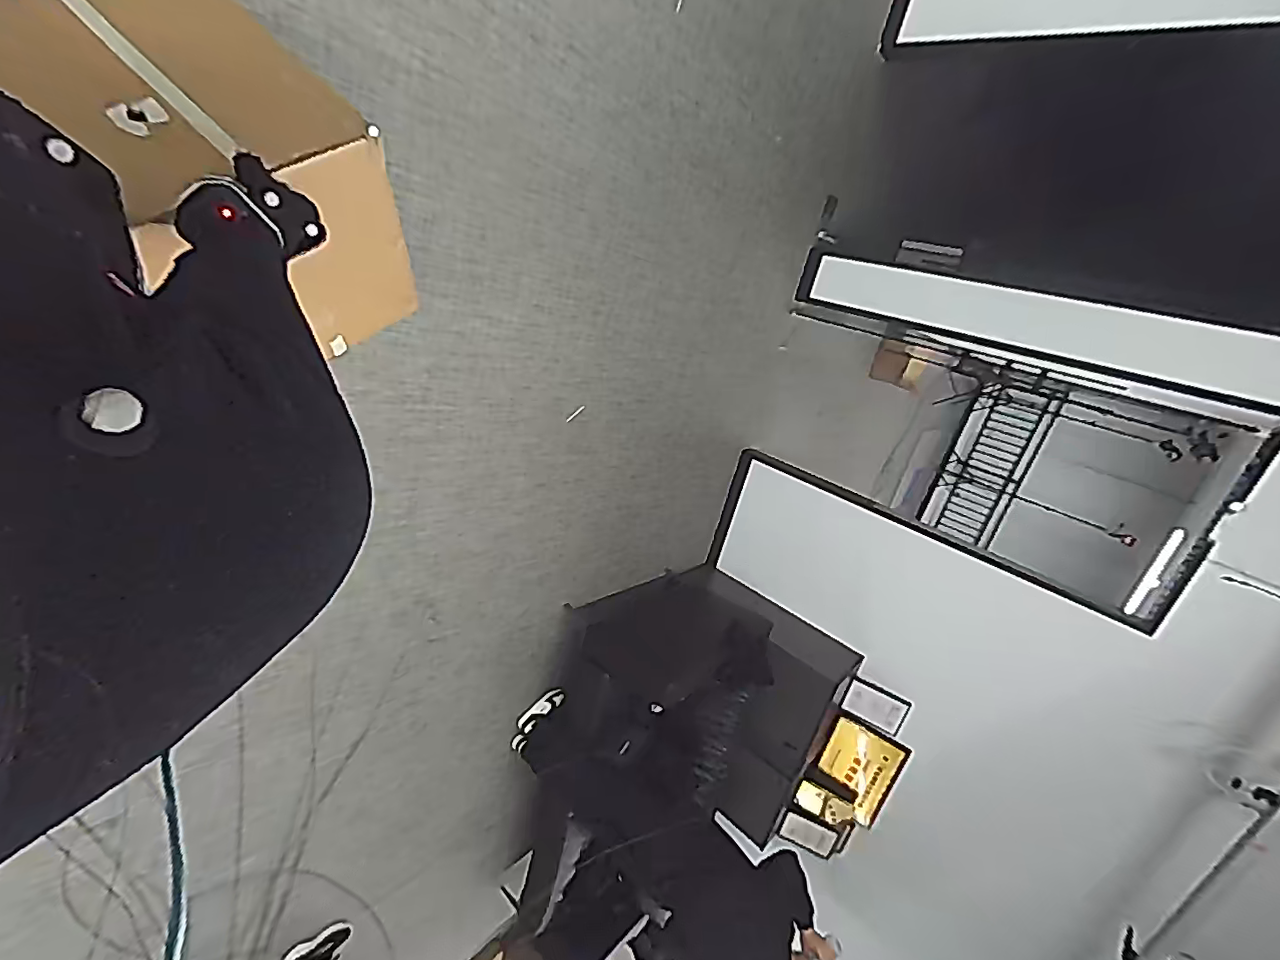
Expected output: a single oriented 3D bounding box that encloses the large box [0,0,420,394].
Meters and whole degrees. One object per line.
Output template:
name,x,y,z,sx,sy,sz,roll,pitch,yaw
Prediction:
large box,-0.588,-0.405,0.765,0.320,0.408,0.320,-44,171,-24
